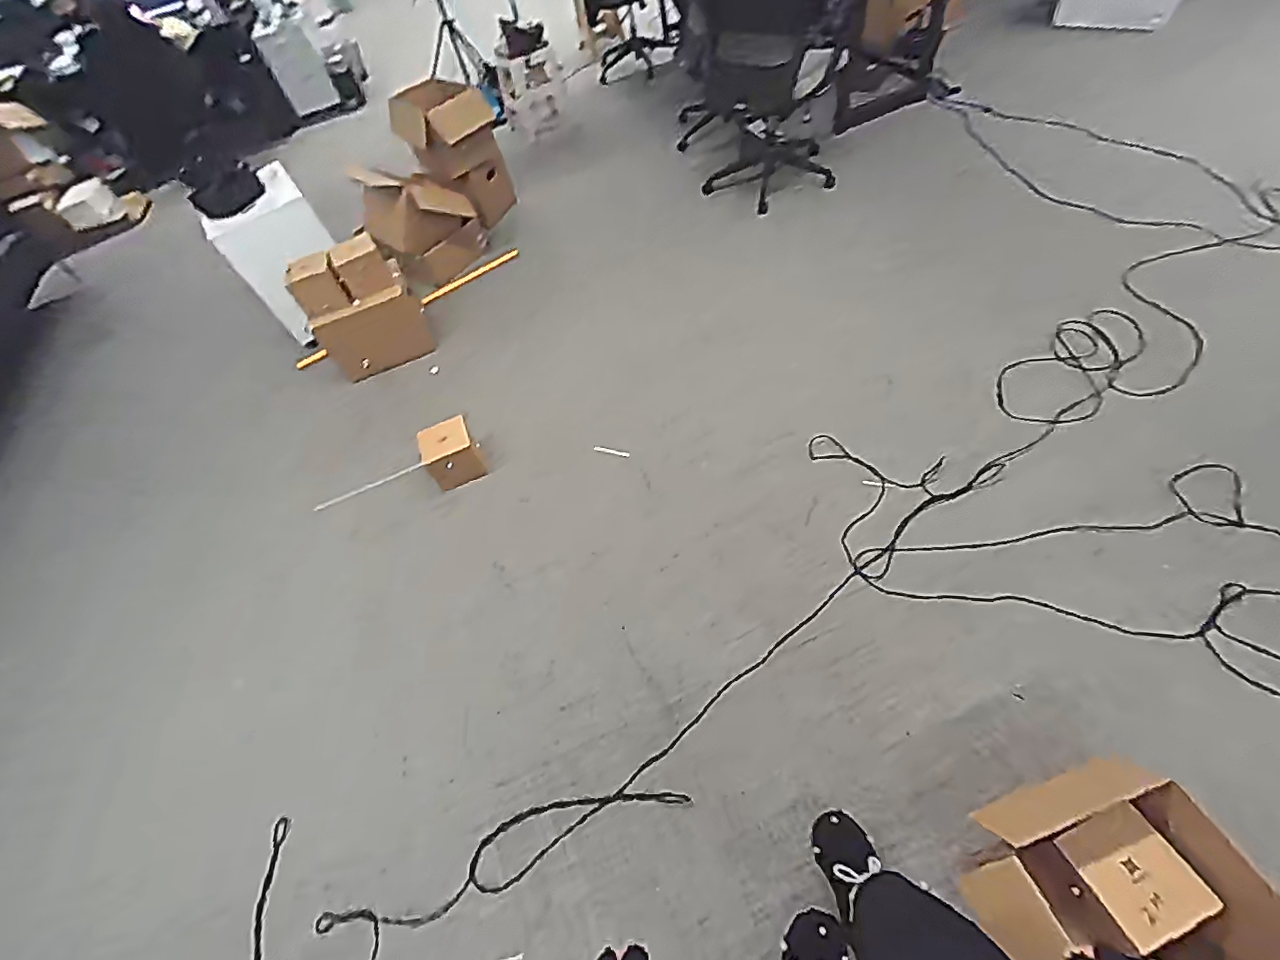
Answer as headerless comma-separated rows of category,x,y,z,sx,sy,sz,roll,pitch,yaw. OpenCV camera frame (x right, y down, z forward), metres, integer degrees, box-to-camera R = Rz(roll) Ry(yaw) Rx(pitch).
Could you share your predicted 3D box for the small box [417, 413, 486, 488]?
small box,-0.667,-0.104,1.933,0.179,0.176,0.168,-25,54,-5
